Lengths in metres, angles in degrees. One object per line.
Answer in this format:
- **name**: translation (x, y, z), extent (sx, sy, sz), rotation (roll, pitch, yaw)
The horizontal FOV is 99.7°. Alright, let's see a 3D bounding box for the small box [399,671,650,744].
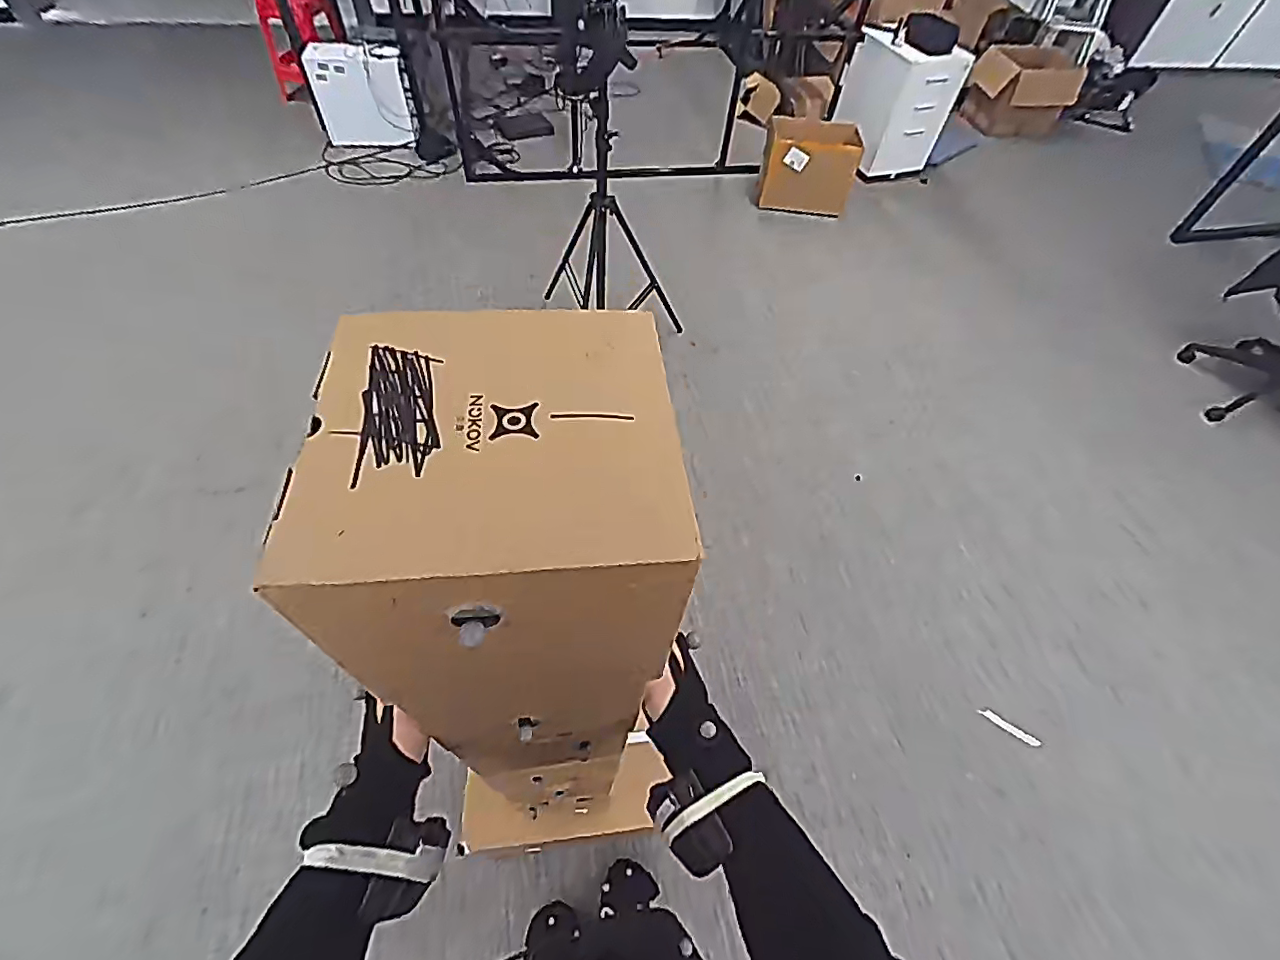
- **small box**: translation (-0.086, 0.114, 0.460), extent (0.168, 0.176, 0.179), rotation (-3, 53, -8)

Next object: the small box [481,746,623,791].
- **small box**: translation (-0.114, 0.305, 0.725), extent (0.168, 0.176, 0.179), rotation (-5, 54, -8)

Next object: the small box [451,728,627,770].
- **small box**: translation (-0.104, 0.207, 0.596), extent (0.168, 0.176, 0.179), rotation (-5, 53, -9)

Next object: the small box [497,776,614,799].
- **small box**: translation (-0.128, 0.398, 0.858), extent (0.168, 0.176, 0.179), rotation (-3, 55, -7)

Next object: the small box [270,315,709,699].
- **small box**: translation (-0.070, 0.021, 0.325), extent (0.179, 0.176, 0.168), rotation (-3, 54, -8)
